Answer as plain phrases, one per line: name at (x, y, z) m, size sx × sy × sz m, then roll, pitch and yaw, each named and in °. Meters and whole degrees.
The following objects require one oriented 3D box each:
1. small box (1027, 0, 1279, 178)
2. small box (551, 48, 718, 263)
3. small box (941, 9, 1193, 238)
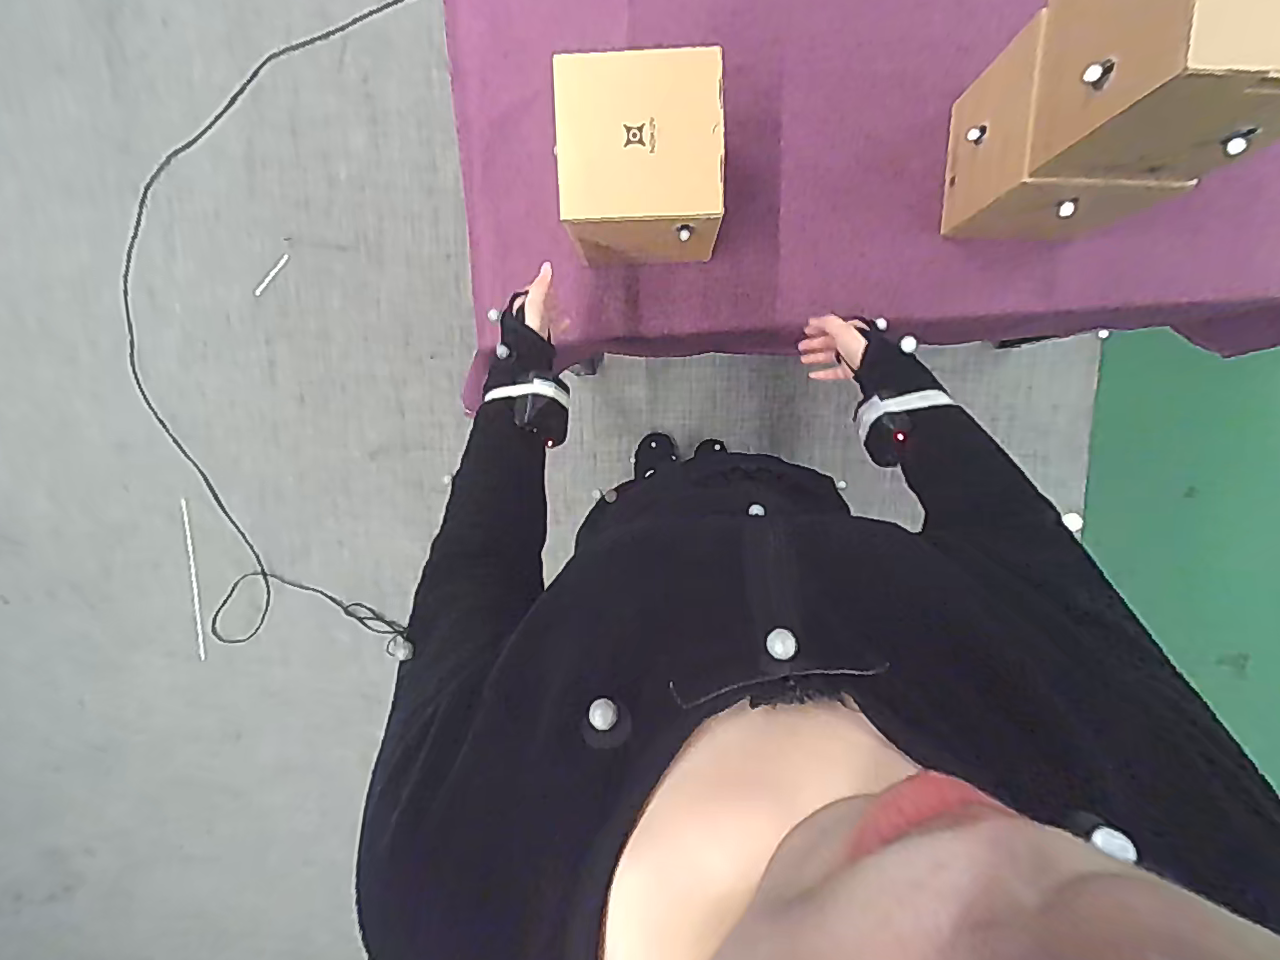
small box at (0.468, -0.380, 0.455) m, size 0.168 × 0.176 × 0.179 m, roll 4°, pitch 96°, yaw 2°
small box at (-0.001, -0.368, 0.645) m, size 0.179 × 0.176 × 0.168 m, roll -1°, pitch 96°, yaw 2°
small box at (0.475, -0.389, 0.618) m, size 0.179 × 0.176 × 0.168 m, roll 3°, pitch 97°, yaw 2°
